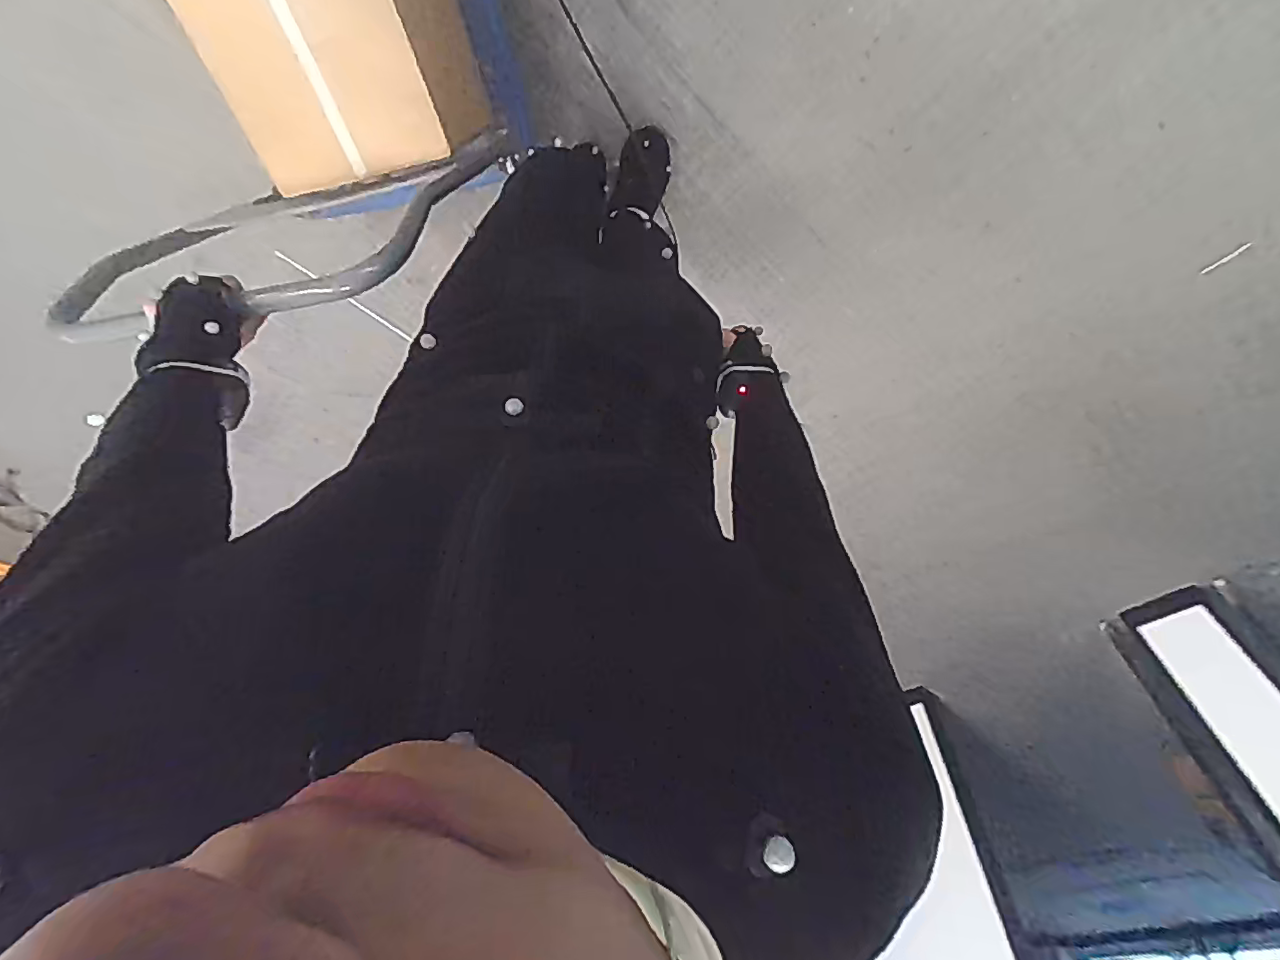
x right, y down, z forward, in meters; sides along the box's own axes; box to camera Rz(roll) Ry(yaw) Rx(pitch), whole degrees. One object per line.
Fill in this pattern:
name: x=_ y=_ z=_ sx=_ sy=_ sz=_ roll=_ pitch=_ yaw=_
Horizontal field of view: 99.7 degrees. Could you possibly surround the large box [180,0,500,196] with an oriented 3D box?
large box: x=-0.471 y=-0.738 z=0.872 sx=0.320 sy=0.320 sz=0.408 roll=-8 pitch=129 yaw=9
